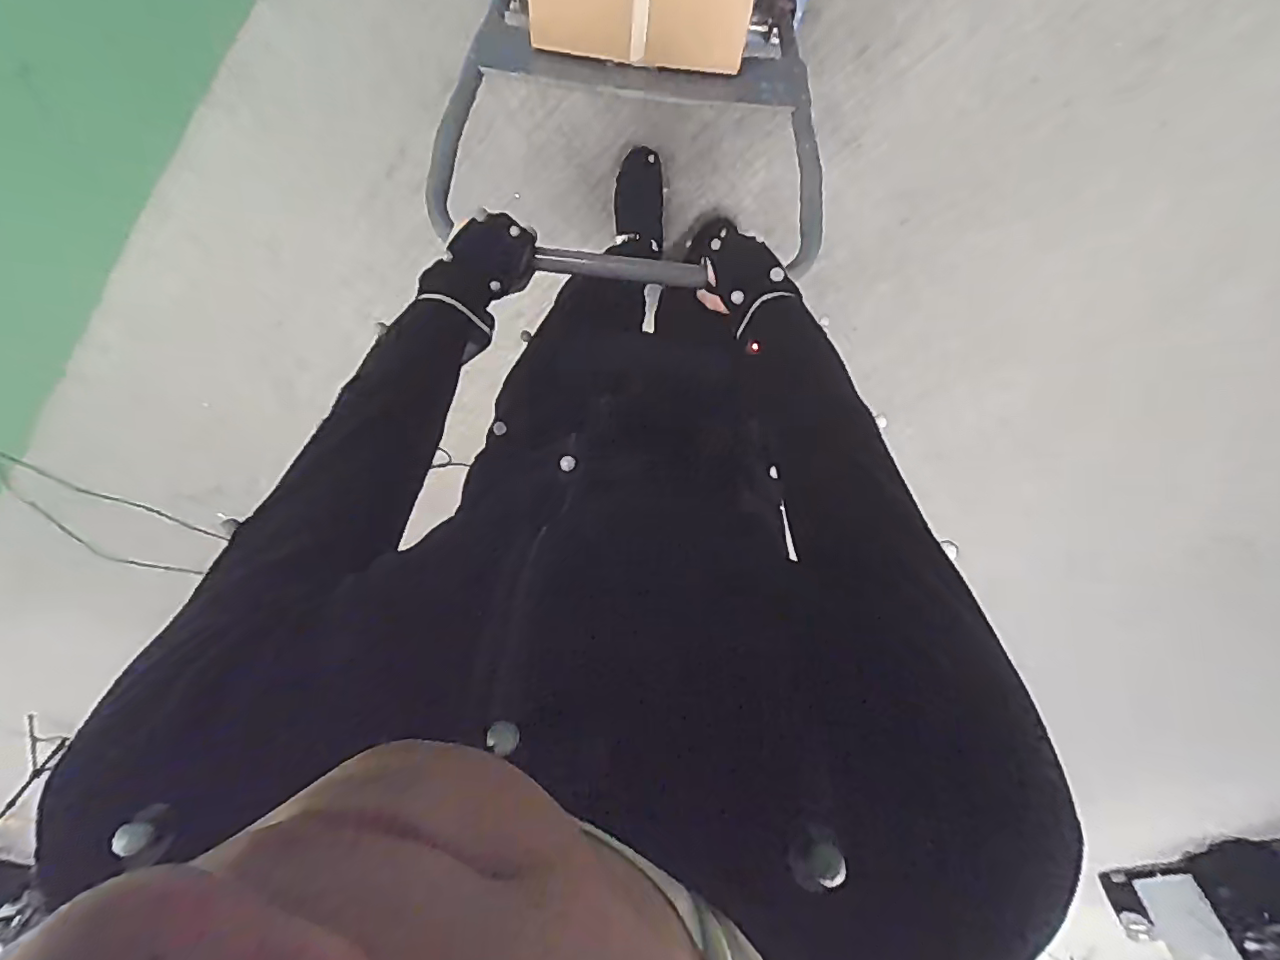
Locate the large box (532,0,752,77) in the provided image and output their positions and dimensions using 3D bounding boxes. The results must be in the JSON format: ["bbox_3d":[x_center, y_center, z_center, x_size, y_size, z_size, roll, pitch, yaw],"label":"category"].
[{"bbox_3d":[0.024,-0.864,0.742,0.320,0.320,0.408,6,147,-3],"label":"large box"}]
